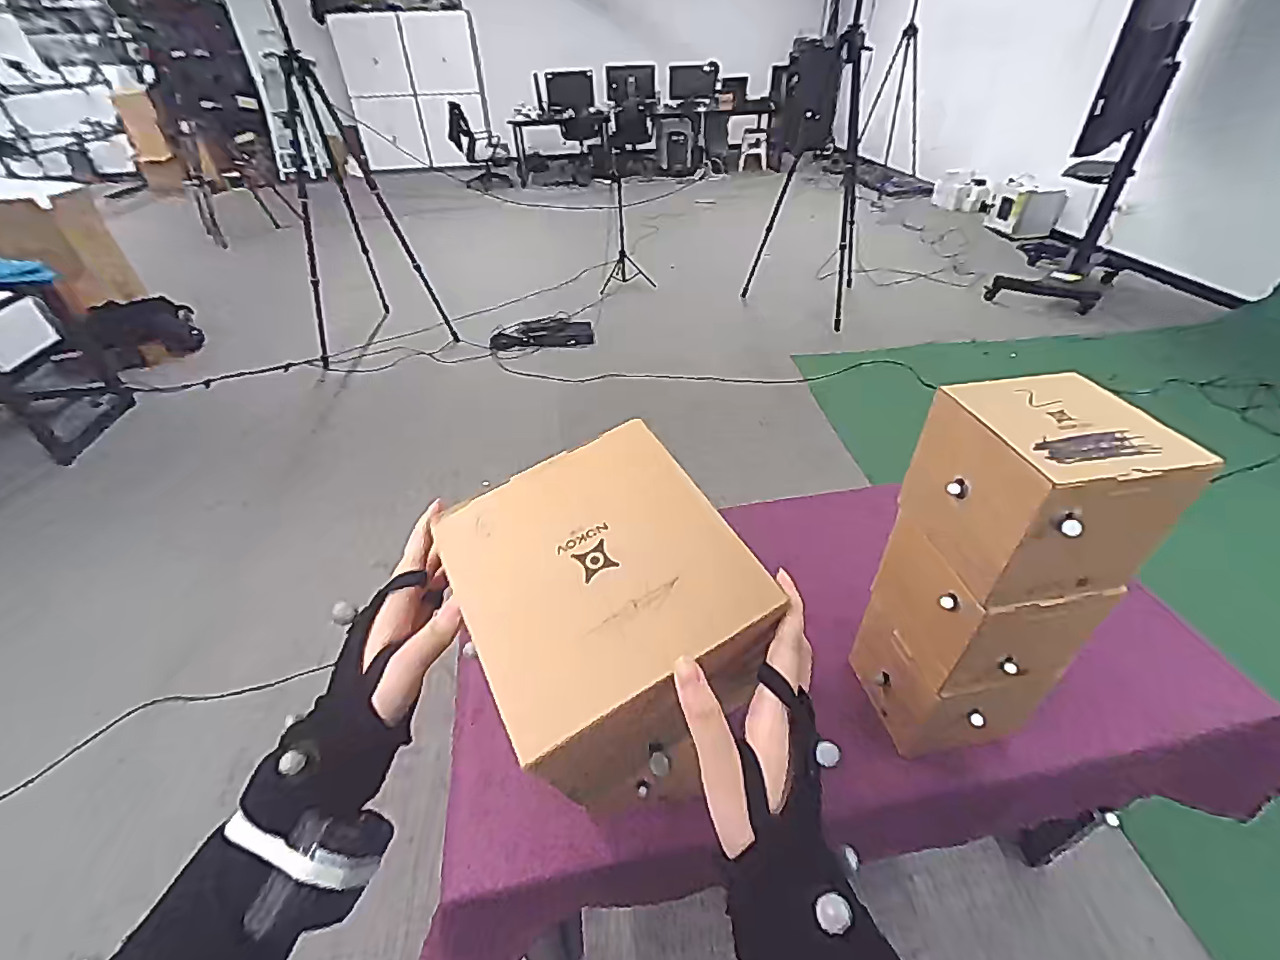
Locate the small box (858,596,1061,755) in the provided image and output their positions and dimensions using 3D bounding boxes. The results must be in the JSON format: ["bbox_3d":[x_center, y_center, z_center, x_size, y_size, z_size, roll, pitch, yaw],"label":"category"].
[{"bbox_3d":[0.435,0.268,0.777,0.179,0.176,0.168,-9,40,-7],"label":"small box"}]

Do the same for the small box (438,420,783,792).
[{"bbox_3d":[-0.022,0.094,0.399,0.168,0.176,0.179,-26,54,-13],"label":"small box"}]

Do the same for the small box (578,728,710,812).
[{"bbox_3d":[-0.007,0.324,0.734,0.168,0.176,0.179,-7,39,-7],"label":"small box"}]

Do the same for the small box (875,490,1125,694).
[{"bbox_3d":[0.424,0.137,0.680,0.168,0.176,0.179,-7,40,-6],"label":"small box"}]
